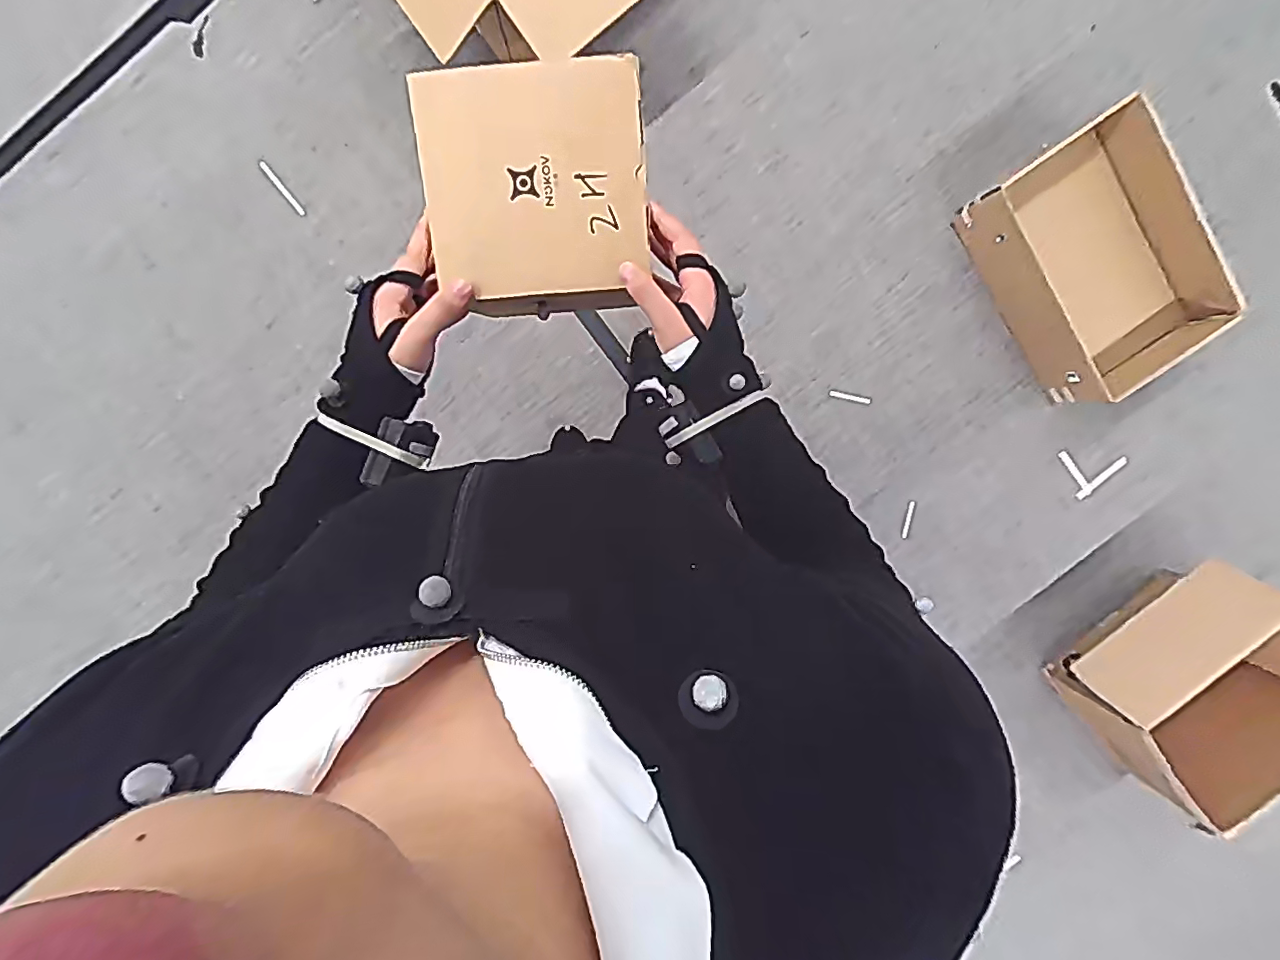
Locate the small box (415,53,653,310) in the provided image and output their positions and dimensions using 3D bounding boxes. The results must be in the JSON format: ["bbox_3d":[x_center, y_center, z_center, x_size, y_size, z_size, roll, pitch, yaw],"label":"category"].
[{"bbox_3d":[-0.081,-0.255,0.504,0.179,0.176,0.168,-5,103,0],"label":"small box"}]
